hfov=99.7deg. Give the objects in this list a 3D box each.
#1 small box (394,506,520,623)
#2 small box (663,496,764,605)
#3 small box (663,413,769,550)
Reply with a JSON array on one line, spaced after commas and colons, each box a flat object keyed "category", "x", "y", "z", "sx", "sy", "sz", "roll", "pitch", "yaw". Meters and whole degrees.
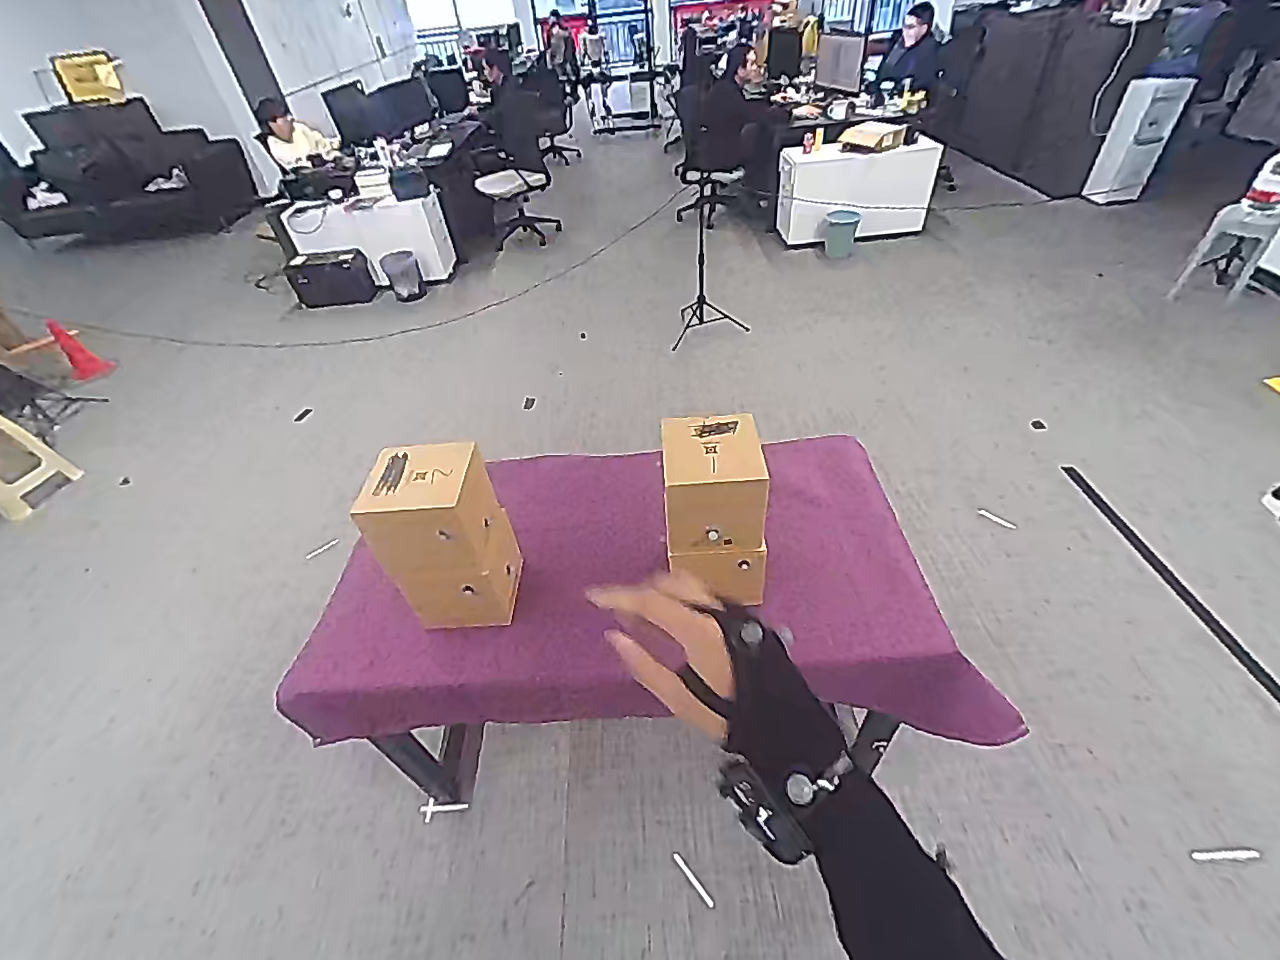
[{"category": "small box", "x": -0.347, "y": 0.169, "z": 1.070, "sx": 0.179, "sy": 0.176, "sz": 0.168, "roll": -3, "pitch": 43, "yaw": 3}, {"category": "small box", "x": 0.140, "y": 0.131, "z": 1.058, "sx": 0.179, "sy": 0.176, "sz": 0.168, "roll": -3, "pitch": 43, "yaw": 3}, {"category": "small box", "x": 0.125, "y": 0.003, "z": 0.955, "sx": 0.168, "sy": 0.176, "sz": 0.179, "roll": -3, "pitch": 43, "yaw": 3}]
